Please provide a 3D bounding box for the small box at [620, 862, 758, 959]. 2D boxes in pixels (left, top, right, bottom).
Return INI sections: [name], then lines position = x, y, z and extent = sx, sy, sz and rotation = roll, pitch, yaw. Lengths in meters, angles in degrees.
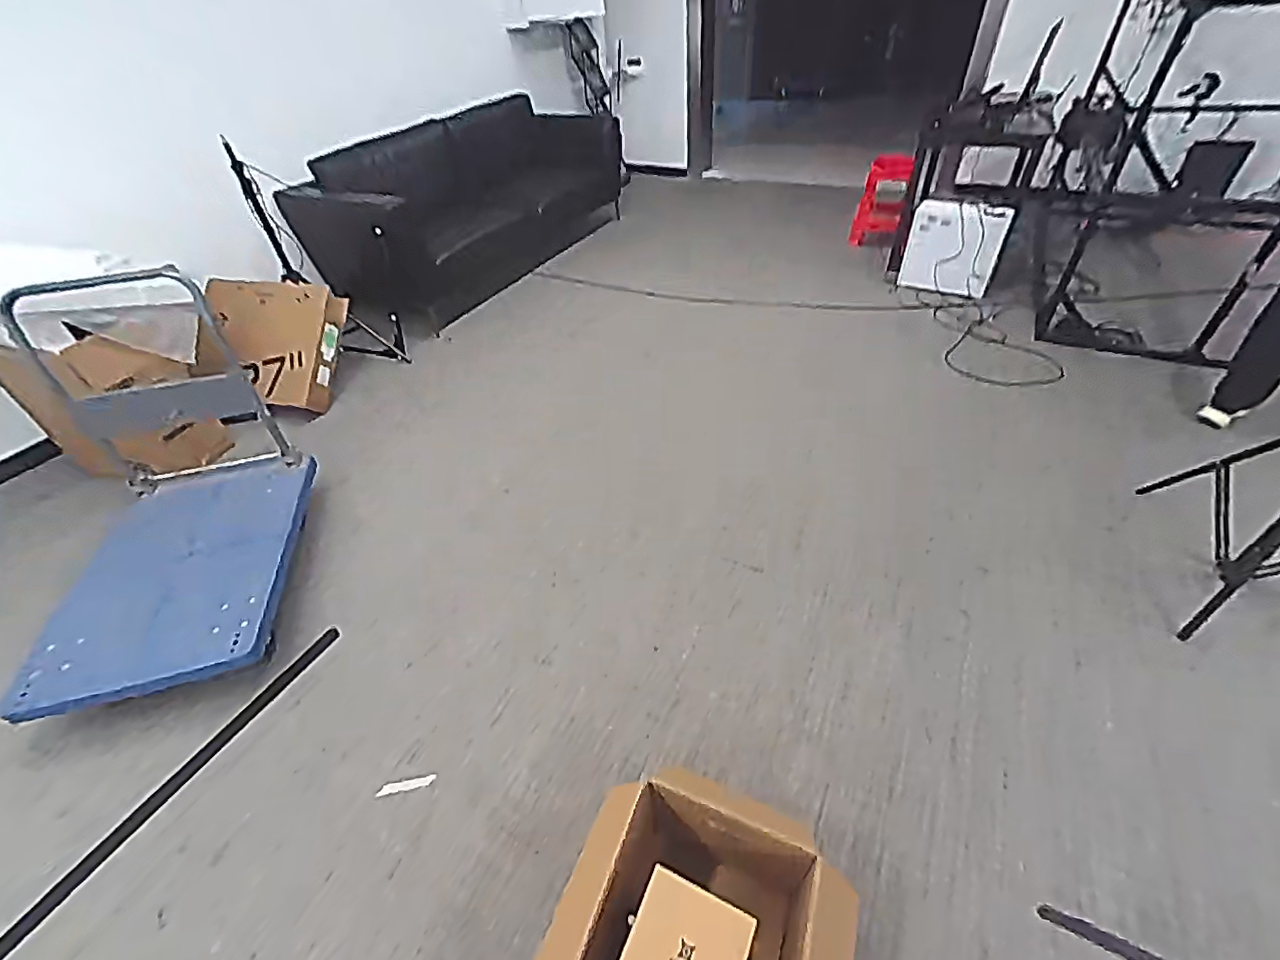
[small box]
position = 0.069, 0.737, 0.825
extent = 0.168, 0.176, 0.179
rotation = 15, 46, 22
